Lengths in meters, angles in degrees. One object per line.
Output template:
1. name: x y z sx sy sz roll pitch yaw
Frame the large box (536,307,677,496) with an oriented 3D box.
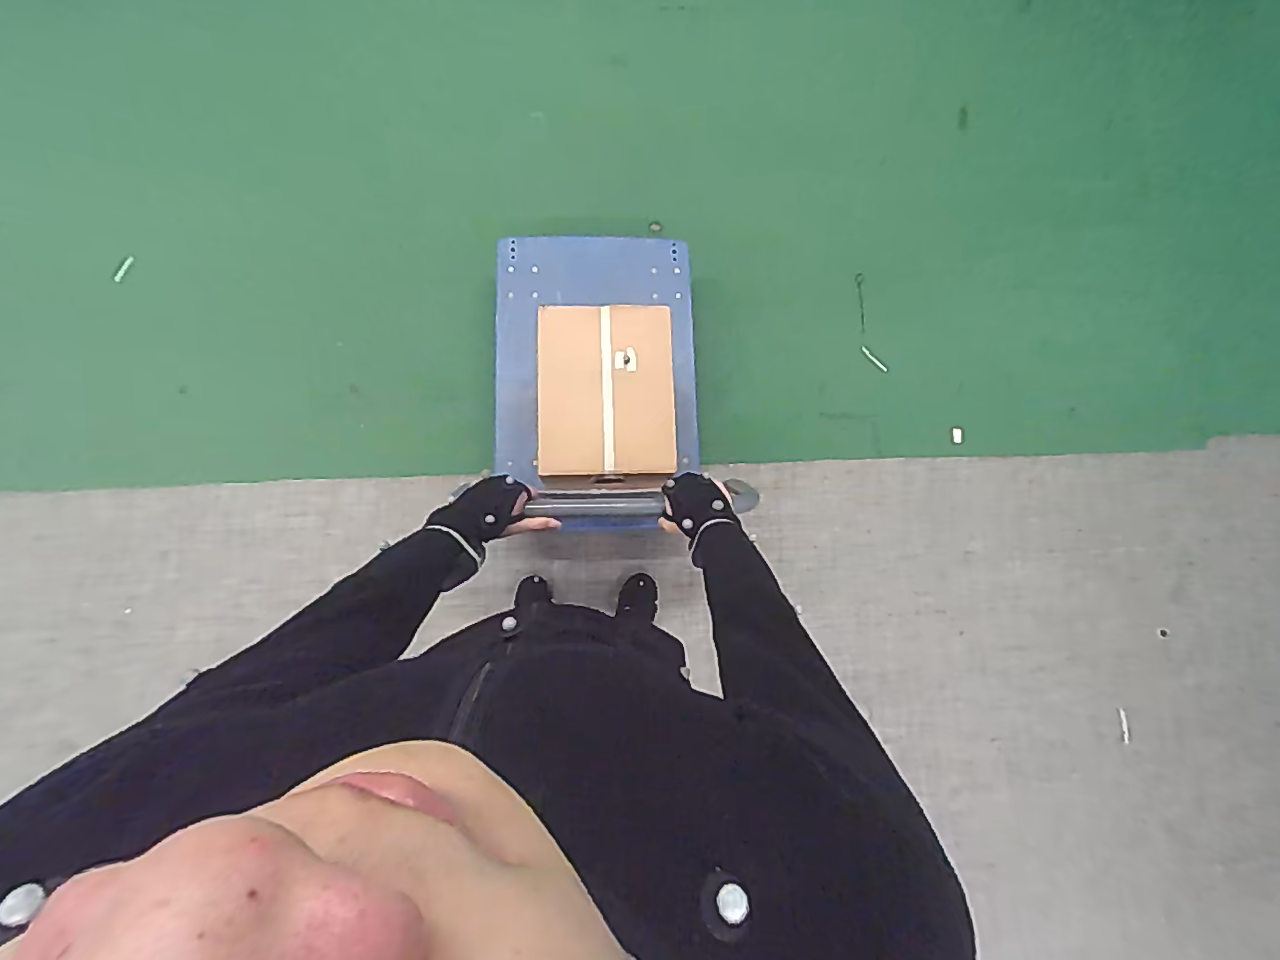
1. large box: -0.091 -0.183 1.383 0.320 0.320 0.408 -1 80 -6
